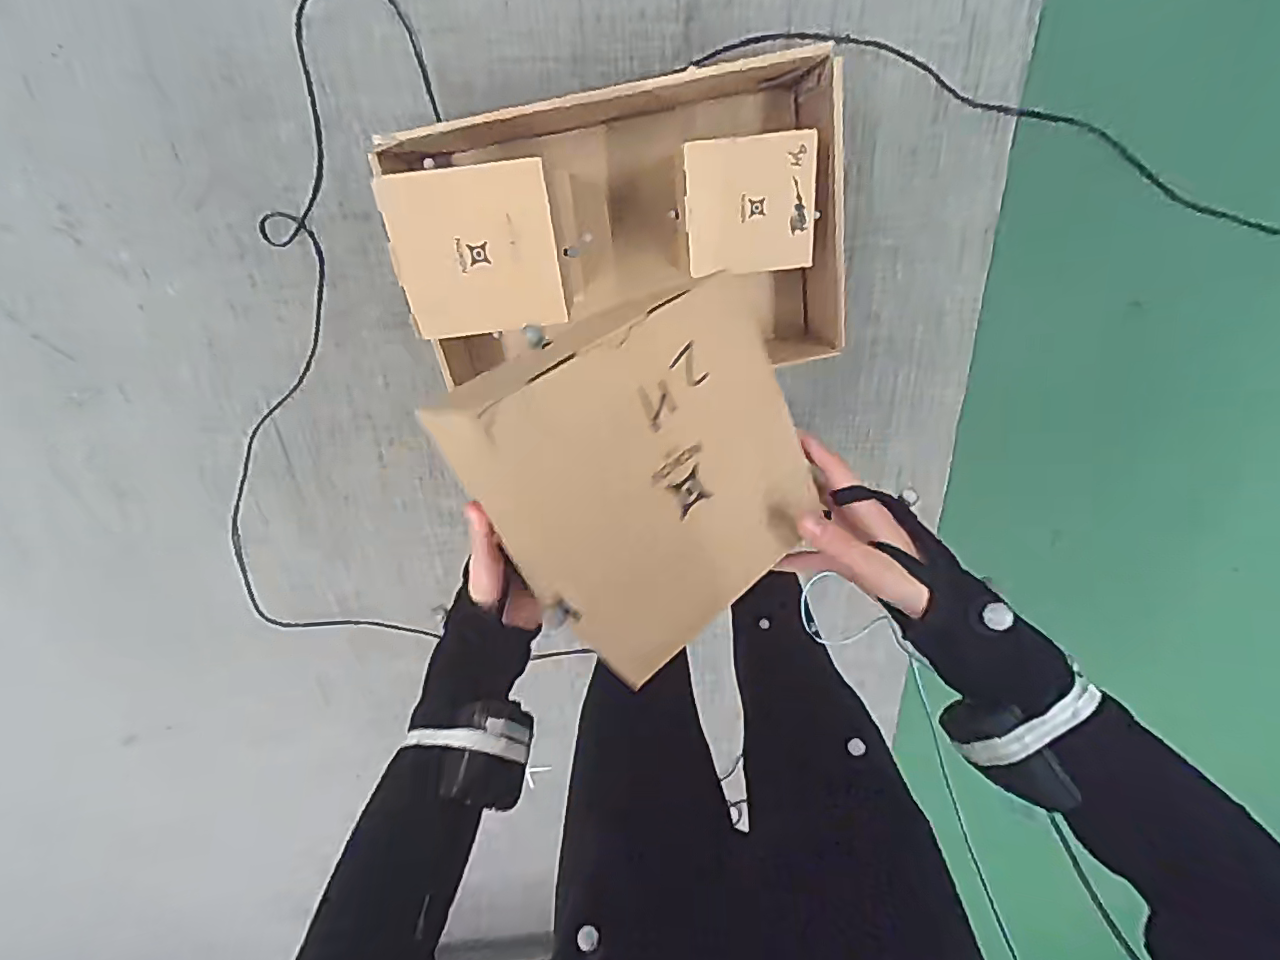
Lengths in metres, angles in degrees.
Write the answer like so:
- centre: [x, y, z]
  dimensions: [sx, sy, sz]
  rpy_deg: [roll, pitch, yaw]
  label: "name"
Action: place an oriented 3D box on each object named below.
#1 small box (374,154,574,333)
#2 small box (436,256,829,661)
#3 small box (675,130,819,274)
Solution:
- centre: [-0.178, -0.280, 0.644]
  dimensions: [0.179, 0.176, 0.168]
  rpy_deg: [-7, 117, -2]
  label: "small box"
- centre: [-0.010, -0.021, 0.365]
  dimensions: [0.168, 0.176, 0.179]
  rpy_deg: [-34, 112, -24]
  label: "small box"
- centre: [0.144, -0.398, 0.790]
  dimensions: [0.179, 0.176, 0.168]
  rpy_deg: [-5, 116, -1]
  label: "small box"
